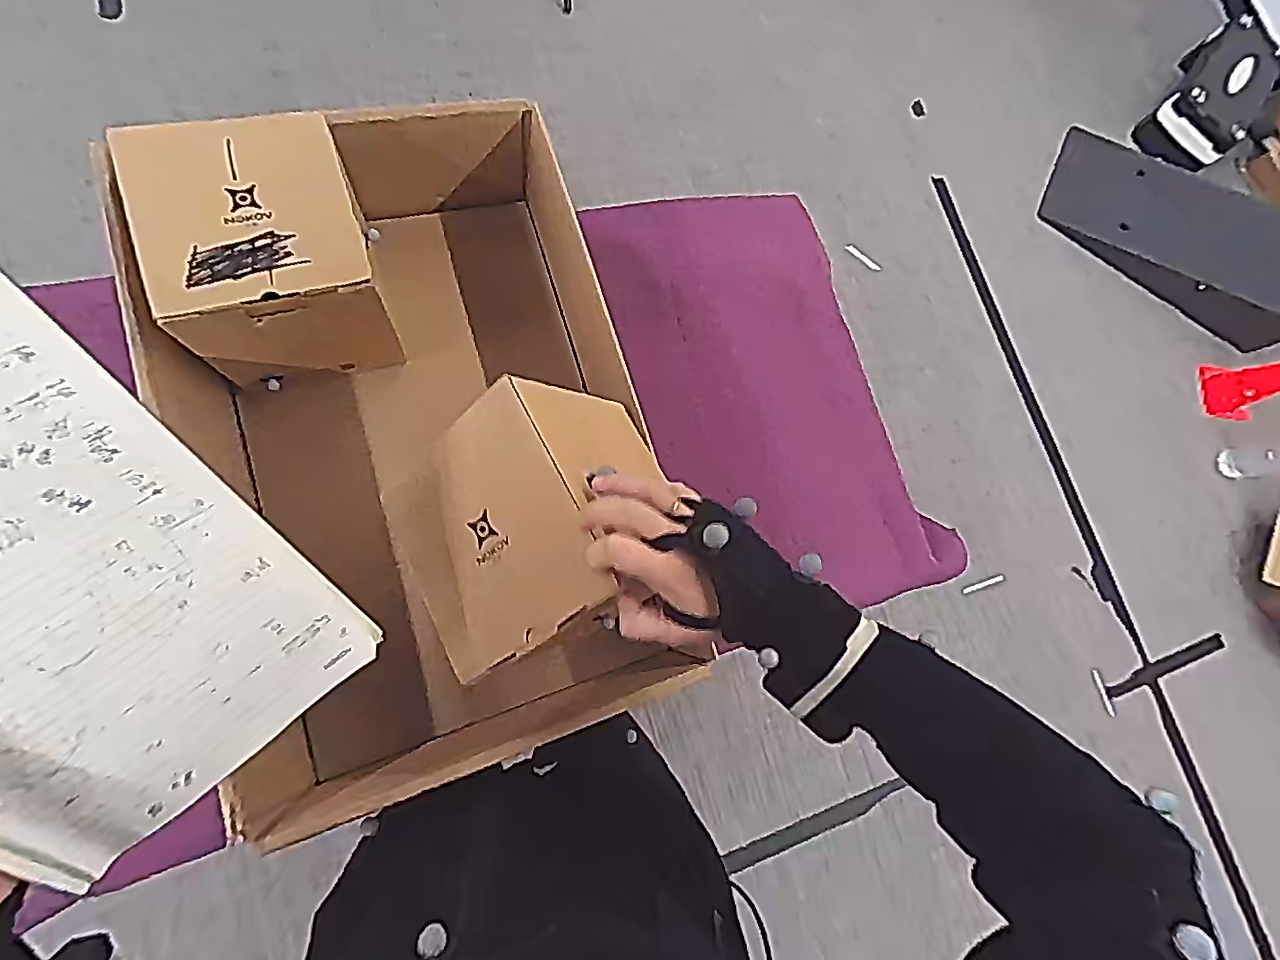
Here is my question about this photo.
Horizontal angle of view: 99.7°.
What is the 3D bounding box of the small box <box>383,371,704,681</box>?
[{"bbox_3d":[-0.073,0.037,0.465,0.168,0.176,0.179,-37,75,21],"label":"small box"}]
